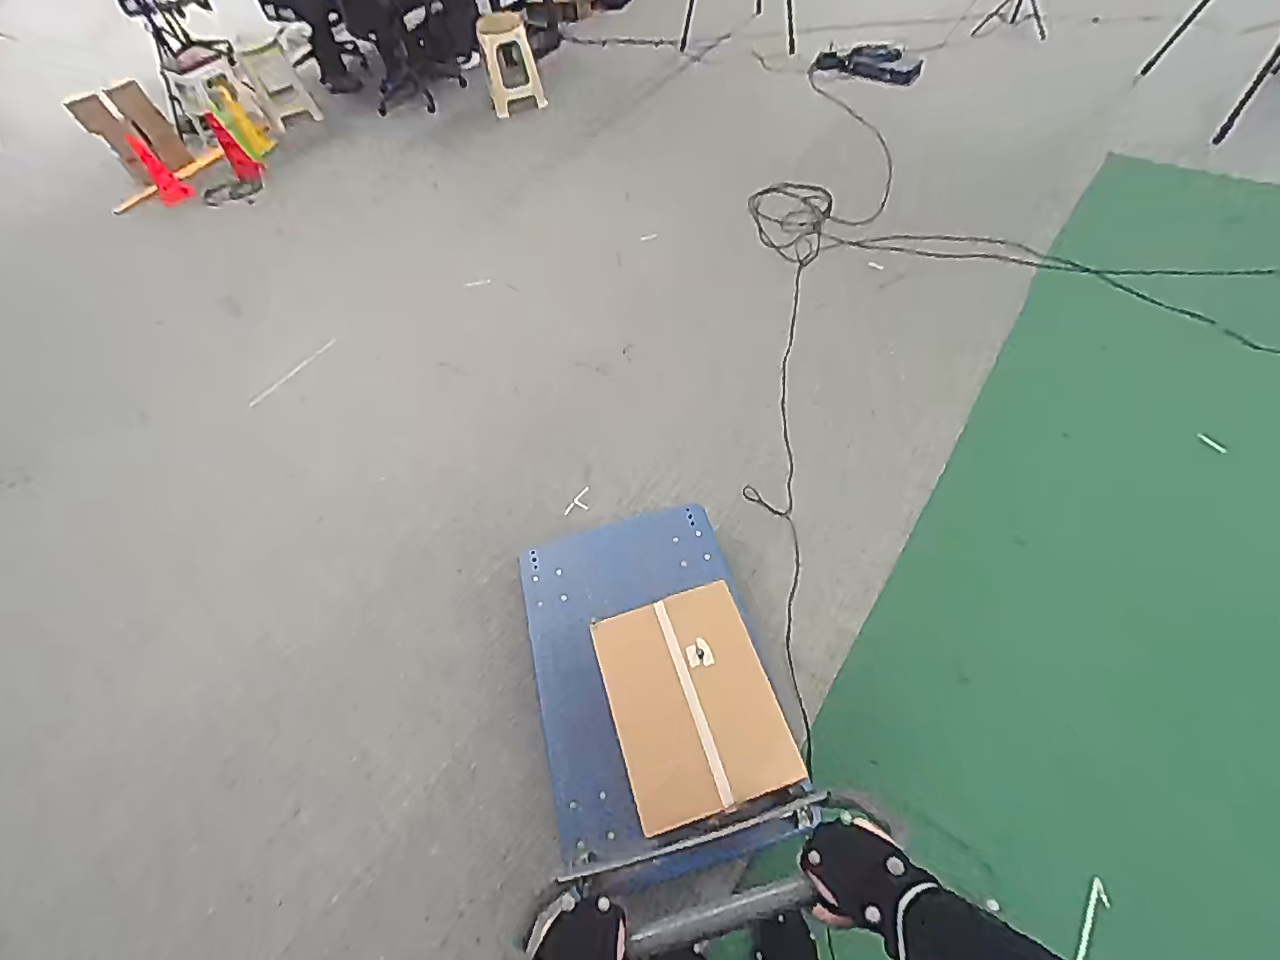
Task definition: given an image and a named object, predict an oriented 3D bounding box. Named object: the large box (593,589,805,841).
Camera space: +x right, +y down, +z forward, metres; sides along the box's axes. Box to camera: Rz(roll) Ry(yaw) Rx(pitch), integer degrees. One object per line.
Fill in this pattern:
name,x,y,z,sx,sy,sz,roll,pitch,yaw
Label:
large box,0.116,0.523,1.205,0.320,0.320,0.408,-17,56,-6
